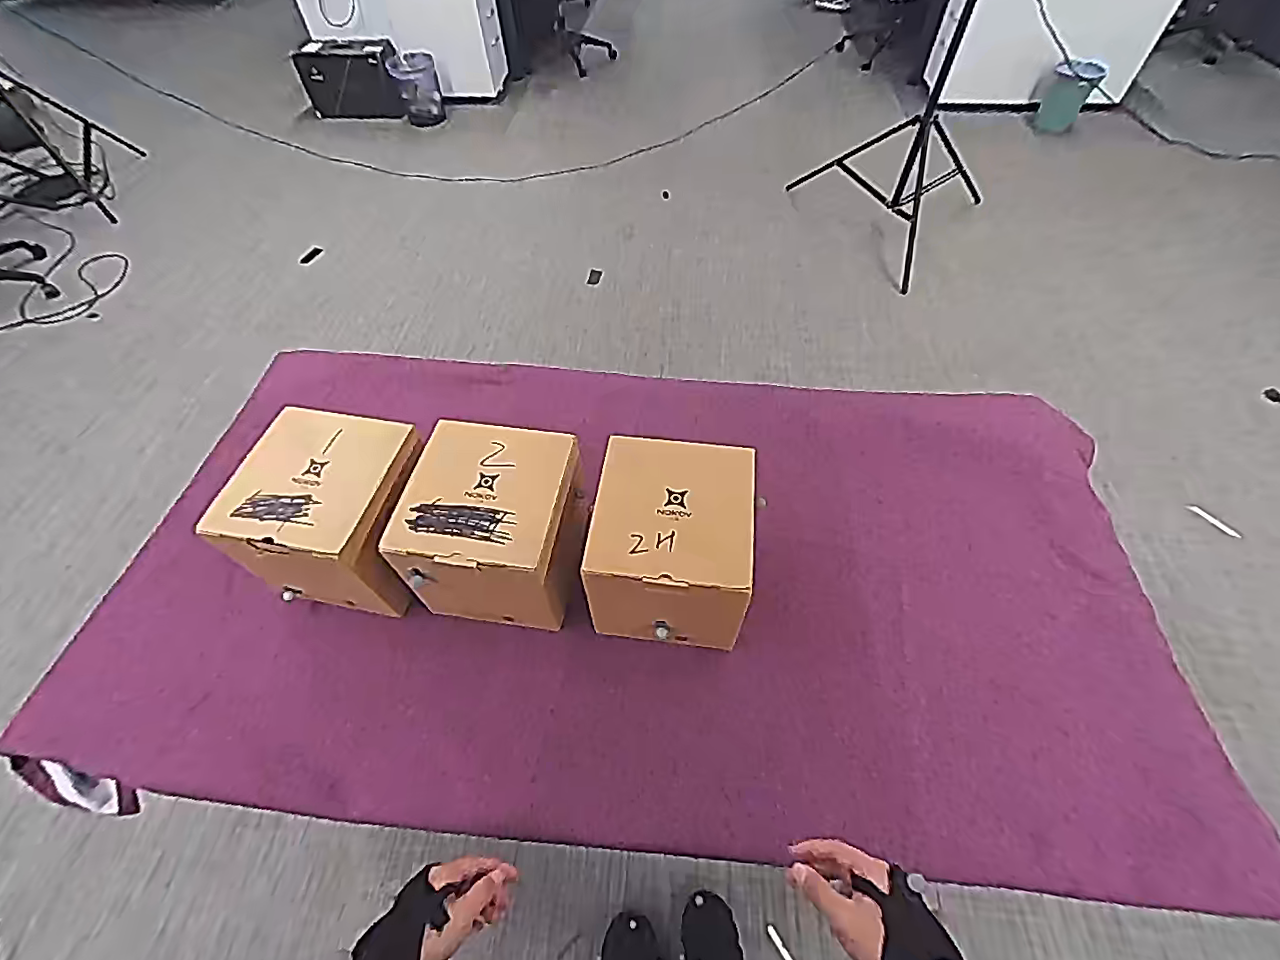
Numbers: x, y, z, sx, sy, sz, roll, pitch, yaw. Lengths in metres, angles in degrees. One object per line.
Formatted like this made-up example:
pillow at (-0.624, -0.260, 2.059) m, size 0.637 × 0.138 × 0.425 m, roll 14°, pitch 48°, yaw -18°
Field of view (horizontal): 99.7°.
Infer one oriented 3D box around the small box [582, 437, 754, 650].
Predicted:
small box at (0.036, 0.075, 0.627) m, size 0.168 × 0.176 × 0.179 m, roll 5°, pitch 54°, yaw 6°
